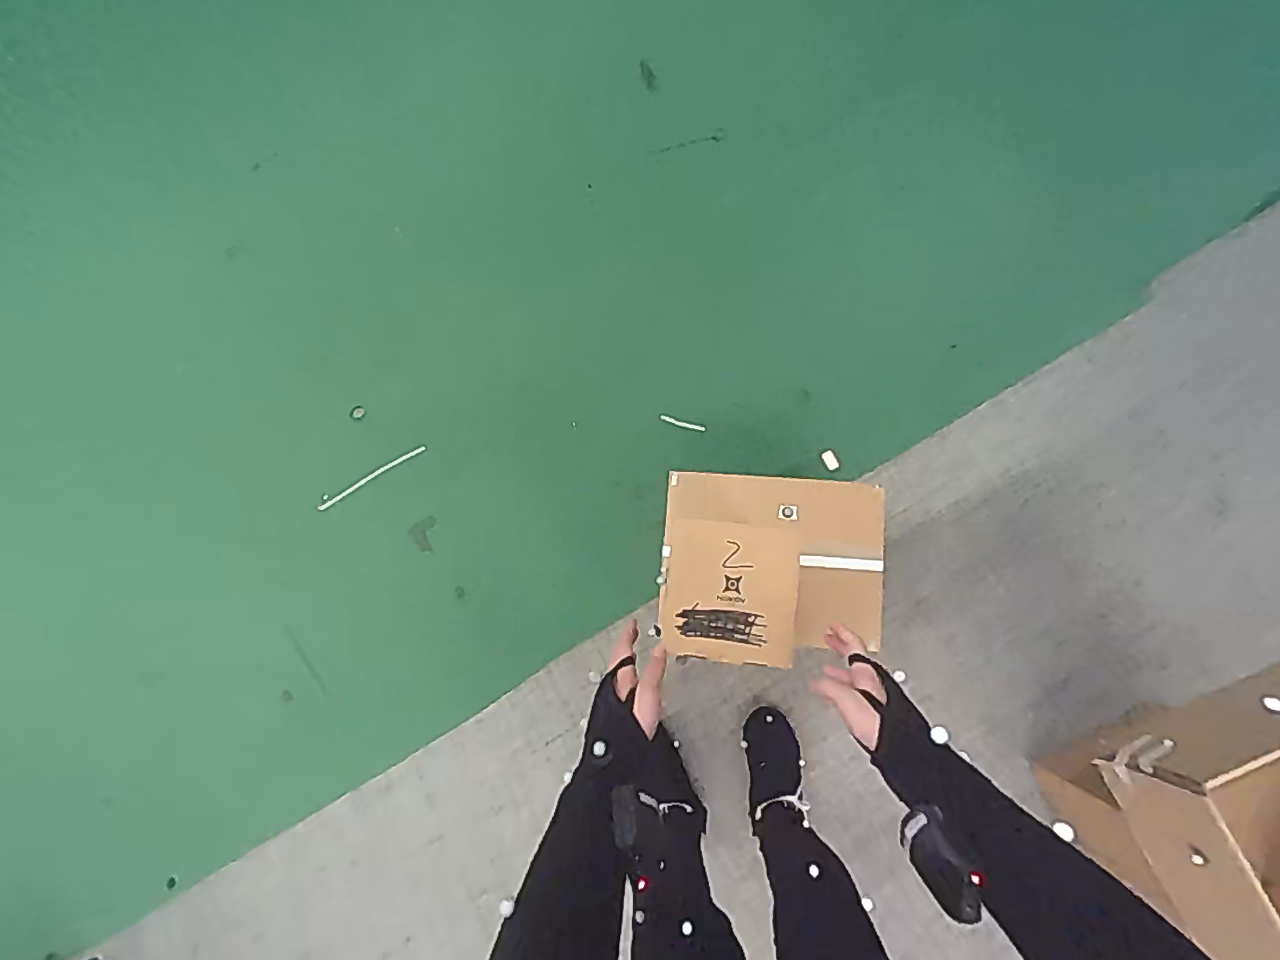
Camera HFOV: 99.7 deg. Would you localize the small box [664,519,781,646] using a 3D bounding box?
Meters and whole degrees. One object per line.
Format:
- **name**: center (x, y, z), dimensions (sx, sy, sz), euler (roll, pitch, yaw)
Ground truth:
- **small box**: center (0.134, 0.171, 0.918), dimensions (0.168, 0.176, 0.179), euler (7, 81, 4)
